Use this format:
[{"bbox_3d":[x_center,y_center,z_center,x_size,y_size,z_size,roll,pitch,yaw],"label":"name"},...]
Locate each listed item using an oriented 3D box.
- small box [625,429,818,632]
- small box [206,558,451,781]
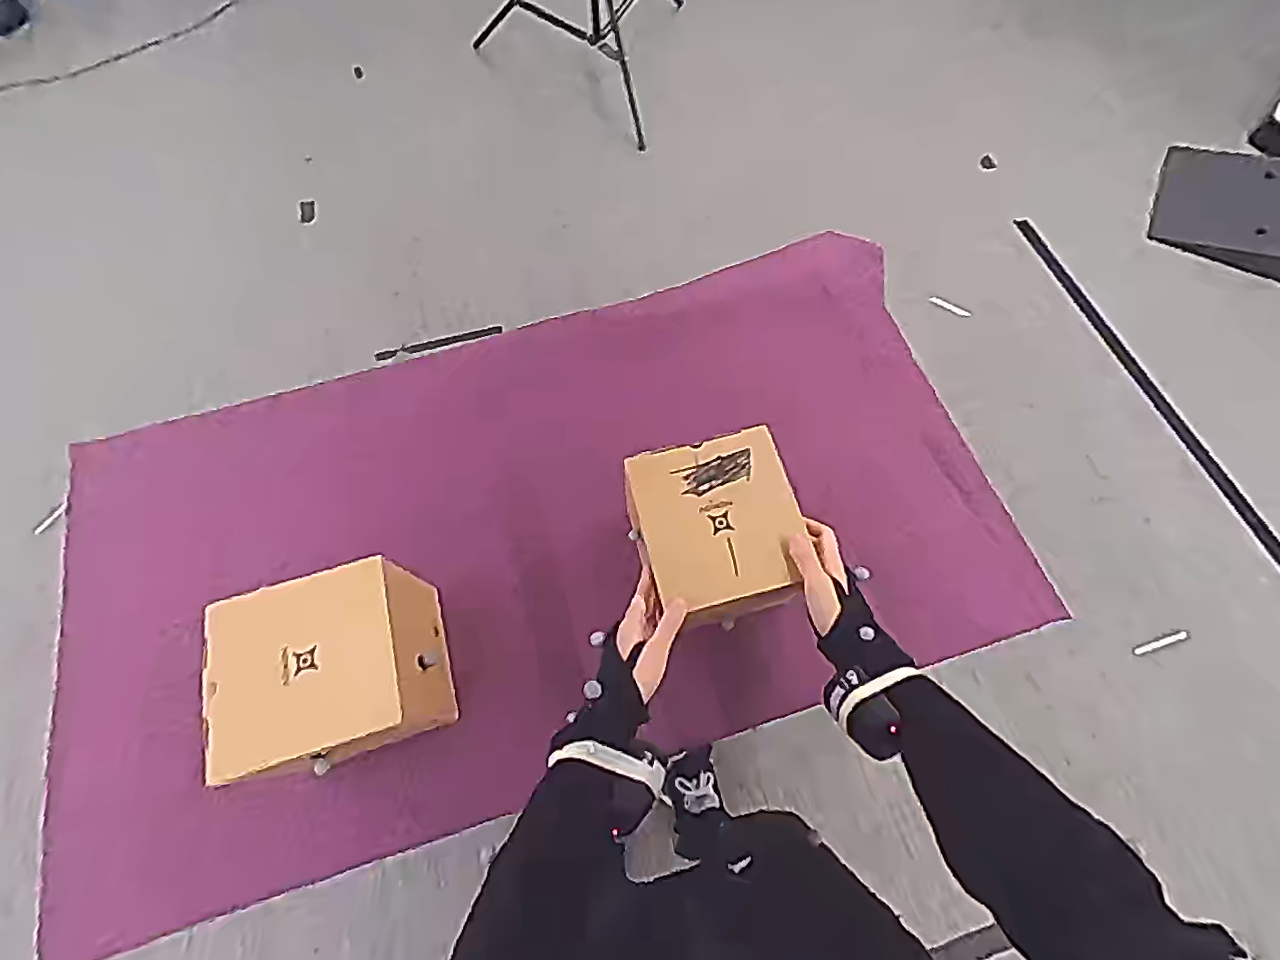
[{"bbox_3d":[0.080,0.067,0.636,0.168,0.176,0.179,-13,70,-4],"label":"small box"},{"bbox_3d":[-0.321,0.201,0.588,0.179,0.176,0.168,-17,69,-5],"label":"small box"}]
